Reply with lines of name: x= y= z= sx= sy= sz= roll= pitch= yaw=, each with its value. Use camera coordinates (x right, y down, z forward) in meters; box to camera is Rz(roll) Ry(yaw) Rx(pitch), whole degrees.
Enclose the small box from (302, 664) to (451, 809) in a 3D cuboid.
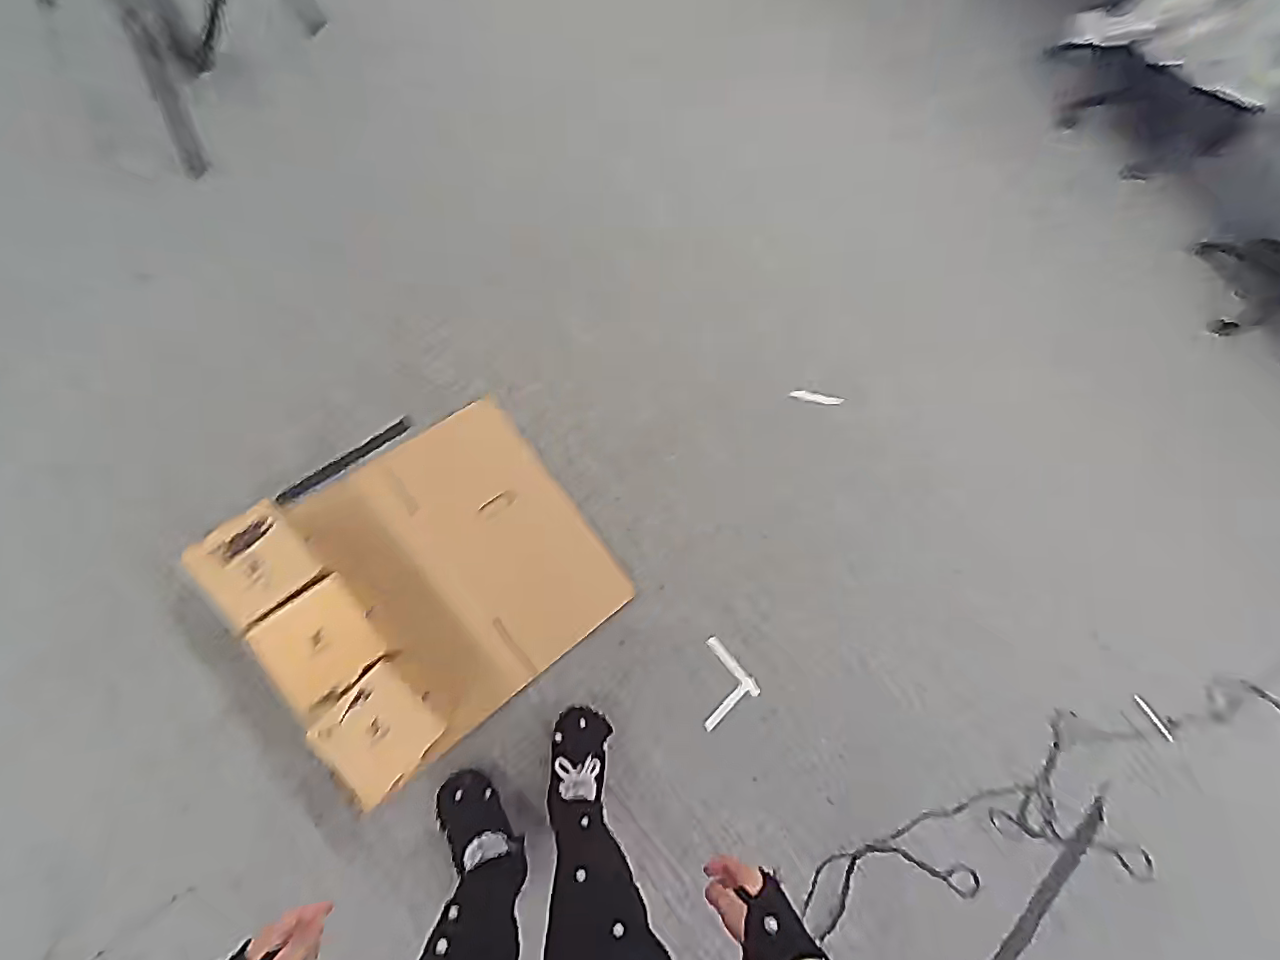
small box: x=-0.479 y=0.464 z=1.016 sx=0.179 sy=0.176 sz=0.168 roll=43 pitch=69 yaw=0
